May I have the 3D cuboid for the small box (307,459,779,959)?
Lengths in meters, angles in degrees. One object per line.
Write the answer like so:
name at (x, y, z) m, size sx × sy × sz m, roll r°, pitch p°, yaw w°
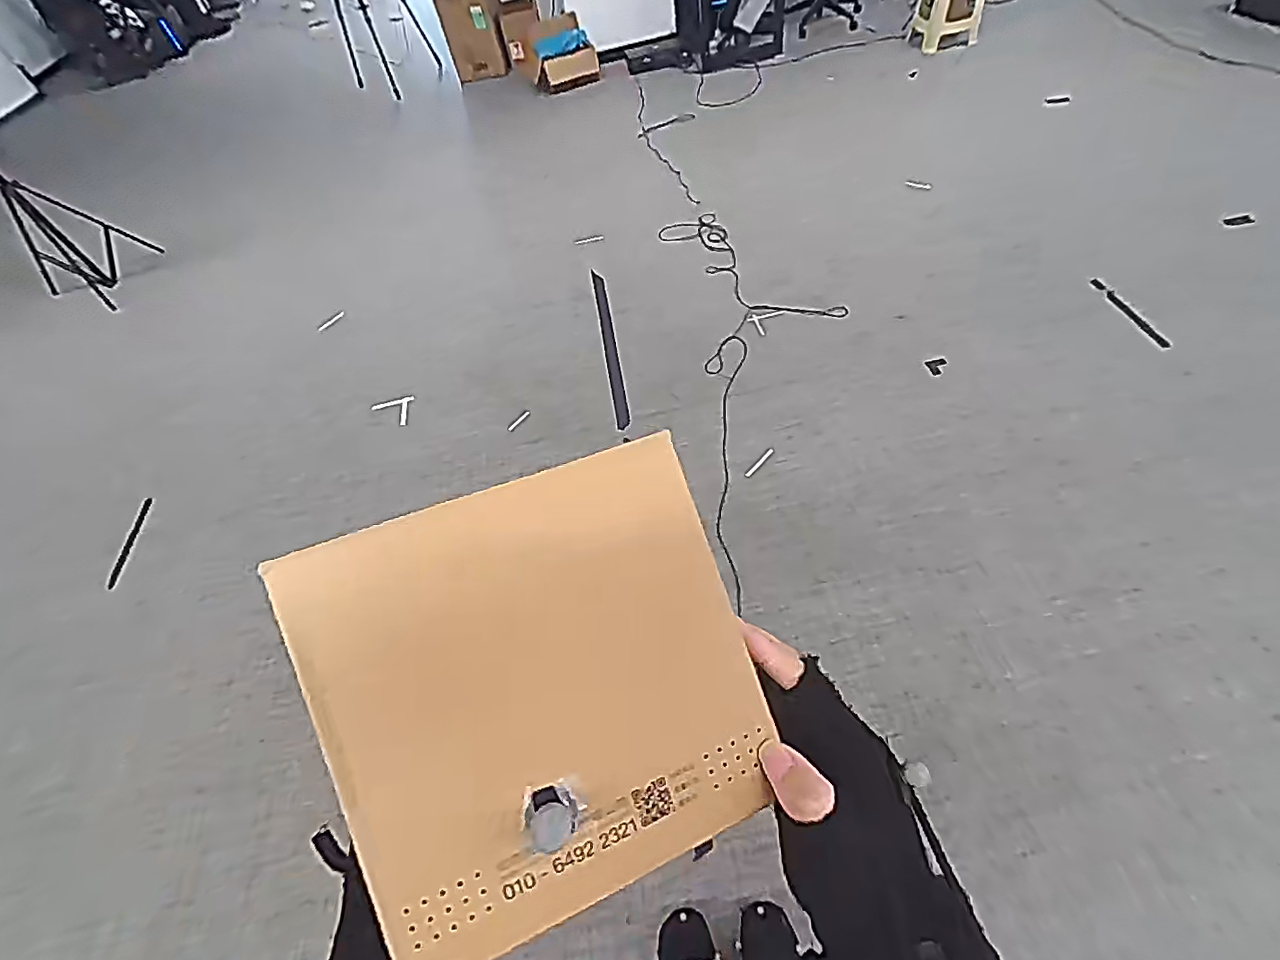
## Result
small box at (-0.051, 0.102, 0.310) m, size 0.168 × 0.179 × 0.176 m, roll -20°, pitch 89°, yaw -16°
